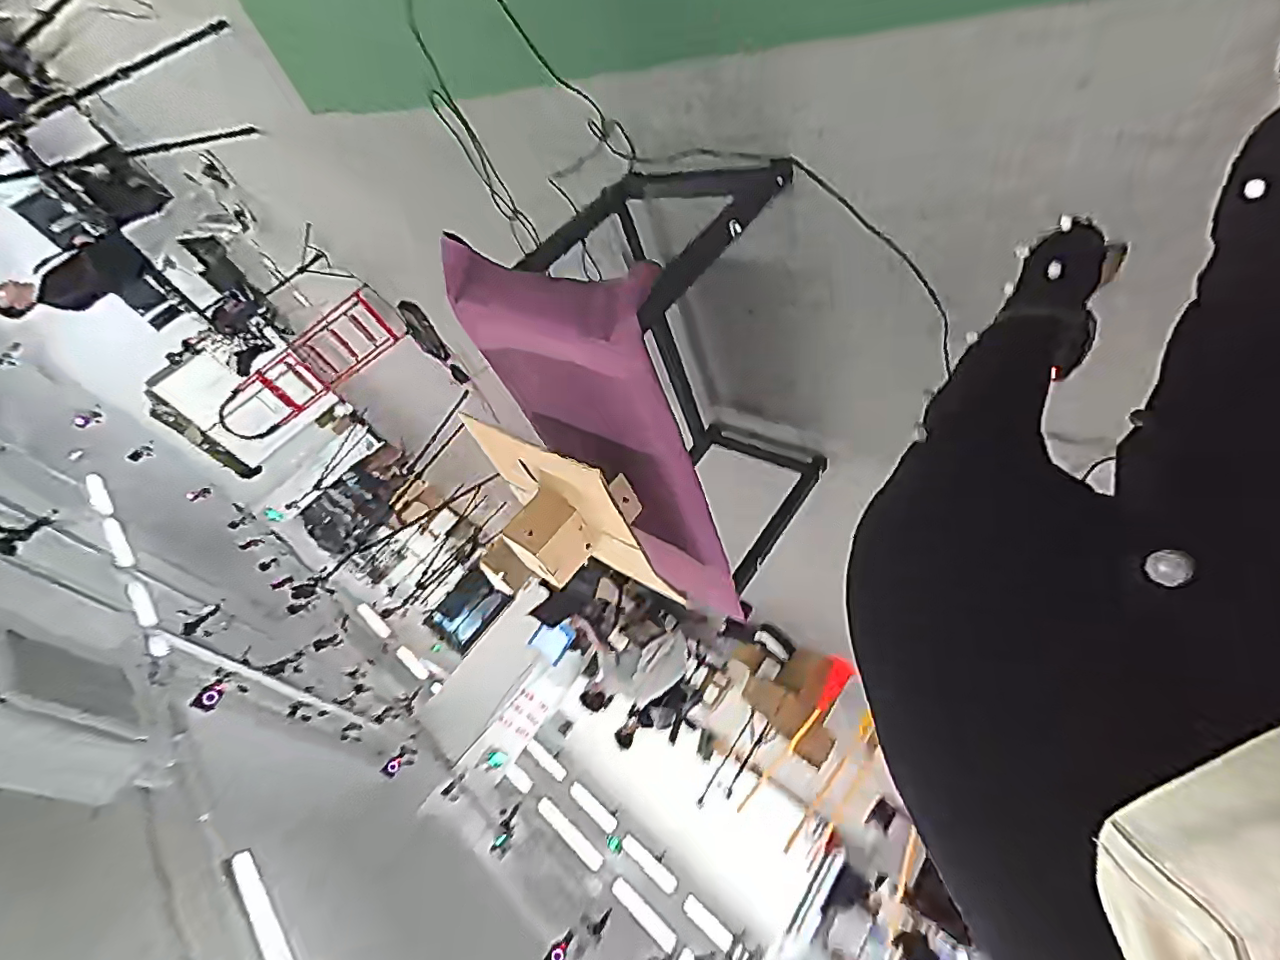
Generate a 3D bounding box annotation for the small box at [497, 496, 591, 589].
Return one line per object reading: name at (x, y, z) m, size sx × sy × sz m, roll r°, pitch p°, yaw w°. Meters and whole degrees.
small box at (-0.262, 0.169, 1.529) m, size 0.179 × 0.176 × 0.168 m, roll 23°, pitch 150°, yaw 40°
